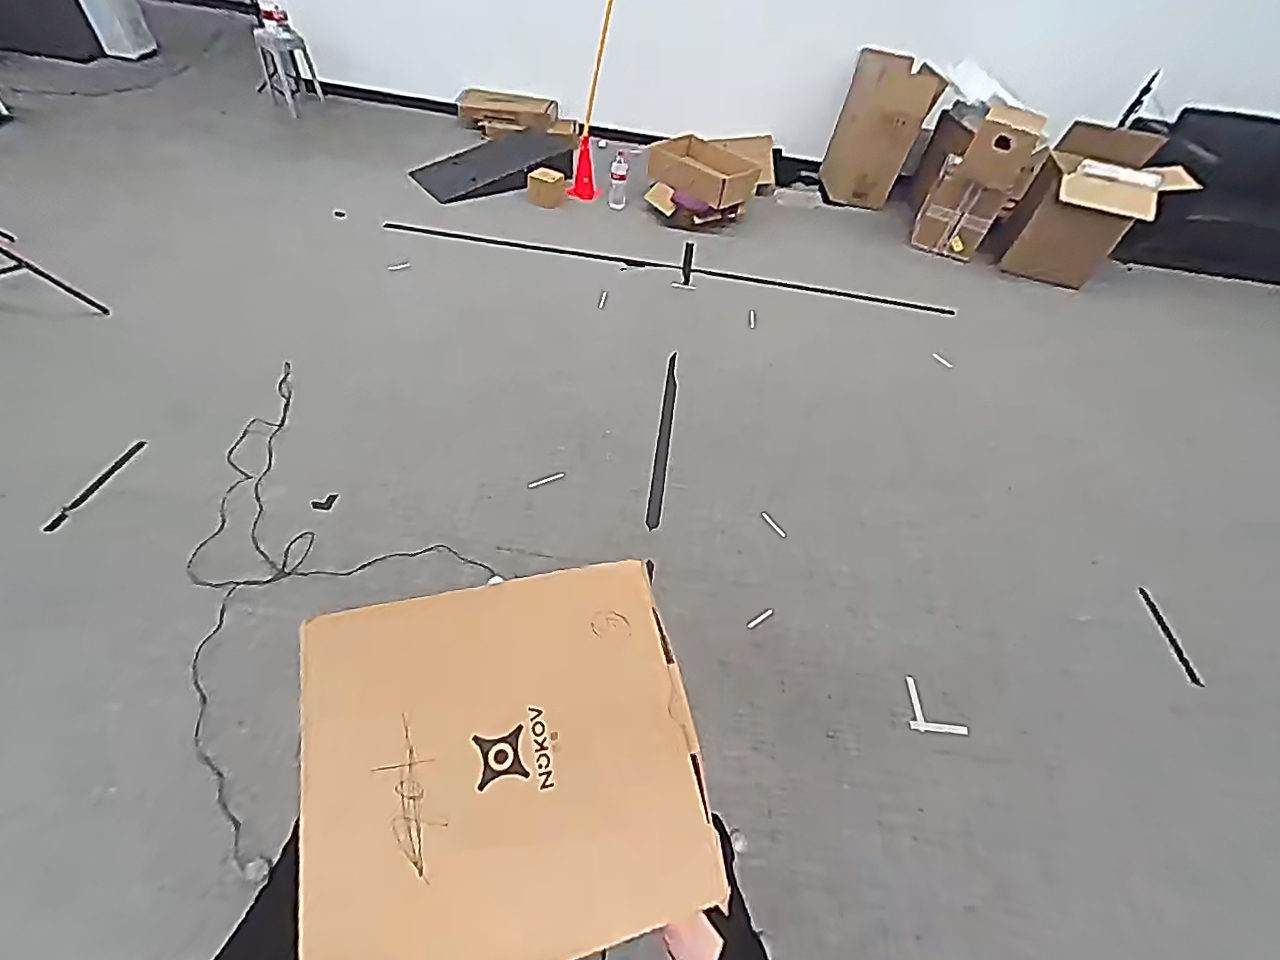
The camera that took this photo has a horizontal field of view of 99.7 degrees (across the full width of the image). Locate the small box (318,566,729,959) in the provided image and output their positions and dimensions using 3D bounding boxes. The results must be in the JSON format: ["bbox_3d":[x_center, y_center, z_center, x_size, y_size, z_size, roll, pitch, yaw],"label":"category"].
[{"bbox_3d":[-0.073,0.170,0.331,0.179,0.176,0.168,-10,64,-16],"label":"small box"}]
